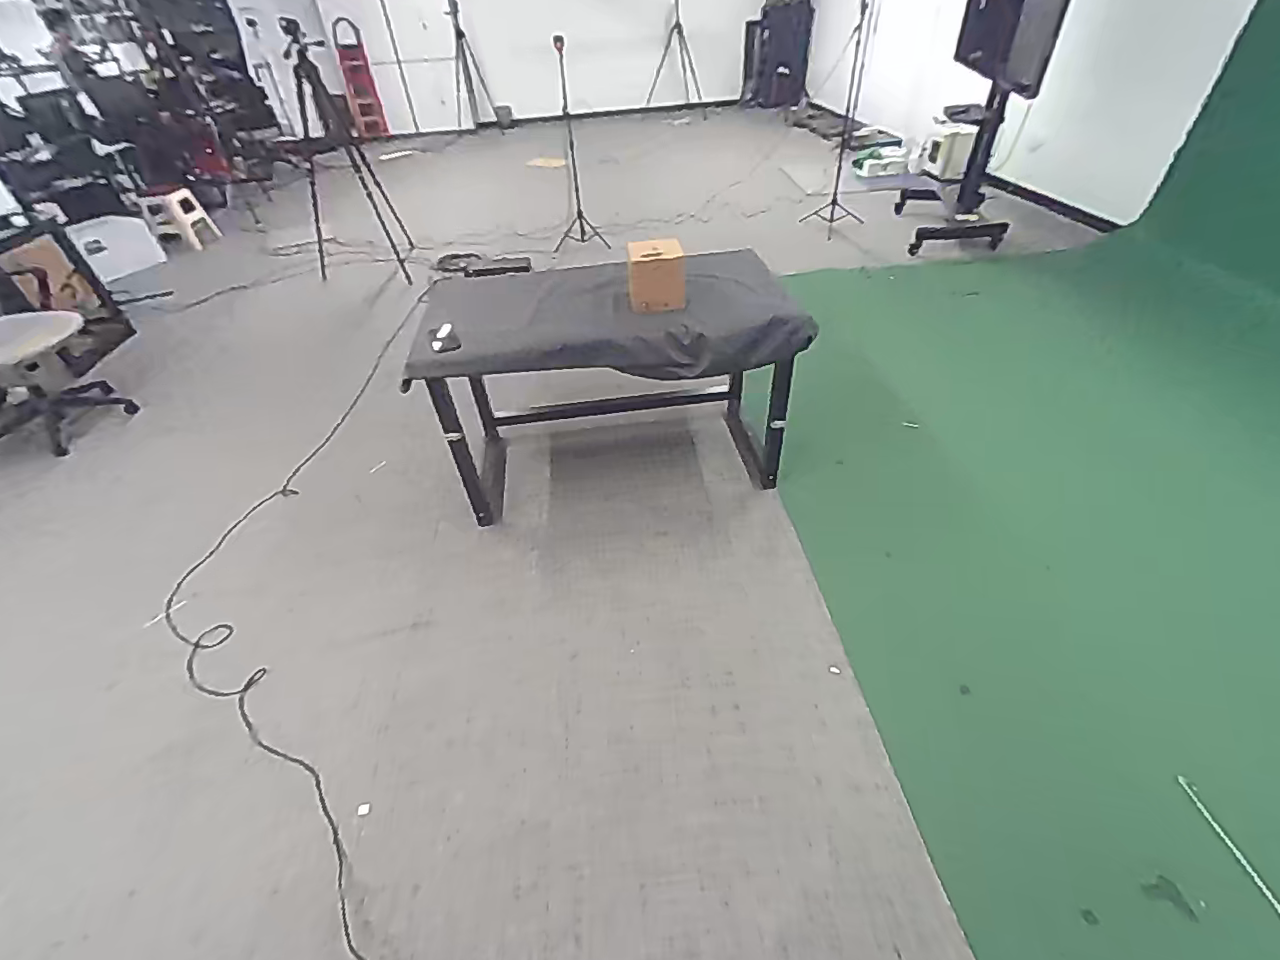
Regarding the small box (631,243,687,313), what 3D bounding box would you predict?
[{"bbox_3d":[0.061,-0.651,1.753,0.168,0.176,0.179,-5,40,-2],"label":"small box"}]
